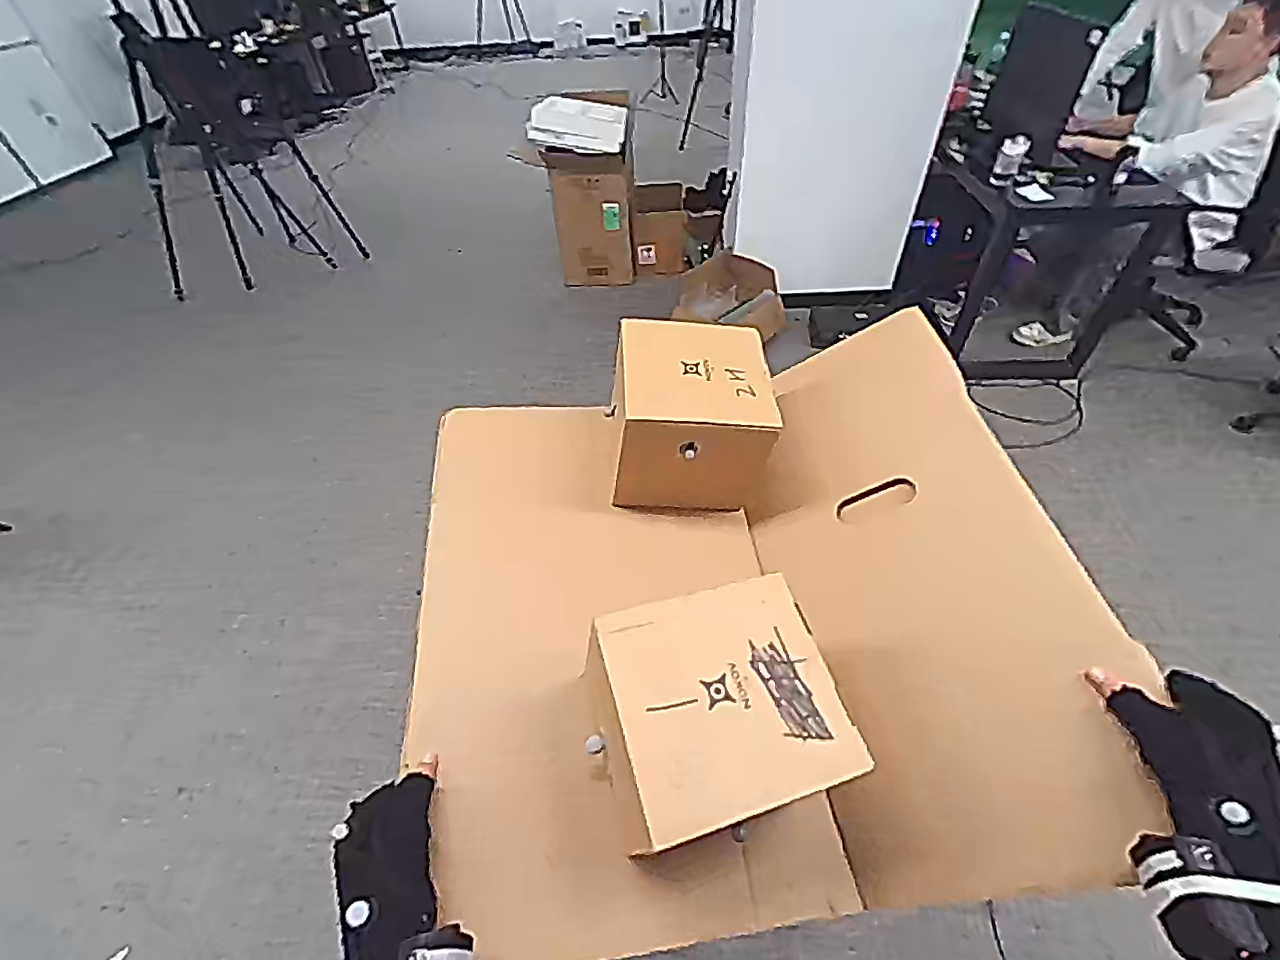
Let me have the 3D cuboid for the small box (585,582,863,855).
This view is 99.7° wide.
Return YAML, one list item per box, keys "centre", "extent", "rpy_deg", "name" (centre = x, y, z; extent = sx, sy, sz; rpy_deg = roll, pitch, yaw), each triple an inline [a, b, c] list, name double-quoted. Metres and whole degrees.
- centre: [0.055, 0.216, 0.490]
  extent: [0.179, 0.176, 0.168]
  rpy_deg: [-11, 57, -16]
  name: "small box"

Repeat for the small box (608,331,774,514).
- centre: [0.050, -0.068, 0.695]
  extent: [0.179, 0.176, 0.168]
  rpy_deg: [3, 54, -8]
  name: "small box"
